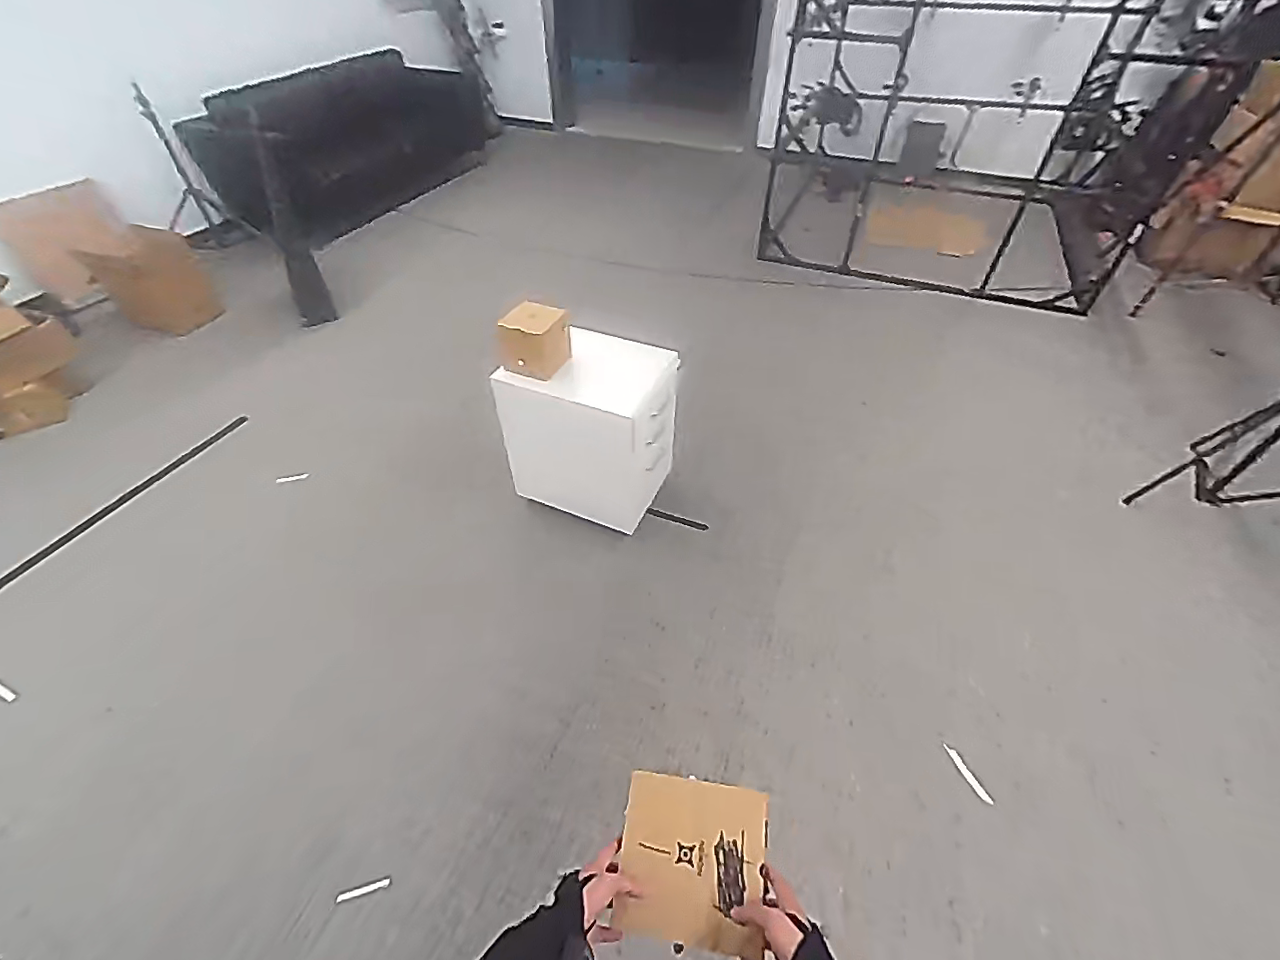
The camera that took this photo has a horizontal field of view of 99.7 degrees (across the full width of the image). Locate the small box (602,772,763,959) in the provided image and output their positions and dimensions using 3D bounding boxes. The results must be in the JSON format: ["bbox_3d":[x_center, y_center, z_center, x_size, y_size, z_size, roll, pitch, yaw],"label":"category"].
[{"bbox_3d":[0.063,0.494,0.704,0.179,0.176,0.168,3,56,10],"label":"small box"}]

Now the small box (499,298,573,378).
[{"bbox_3d":[-0.327,-0.458,1.744,0.168,0.176,0.179,17,48,16],"label":"small box"}]
